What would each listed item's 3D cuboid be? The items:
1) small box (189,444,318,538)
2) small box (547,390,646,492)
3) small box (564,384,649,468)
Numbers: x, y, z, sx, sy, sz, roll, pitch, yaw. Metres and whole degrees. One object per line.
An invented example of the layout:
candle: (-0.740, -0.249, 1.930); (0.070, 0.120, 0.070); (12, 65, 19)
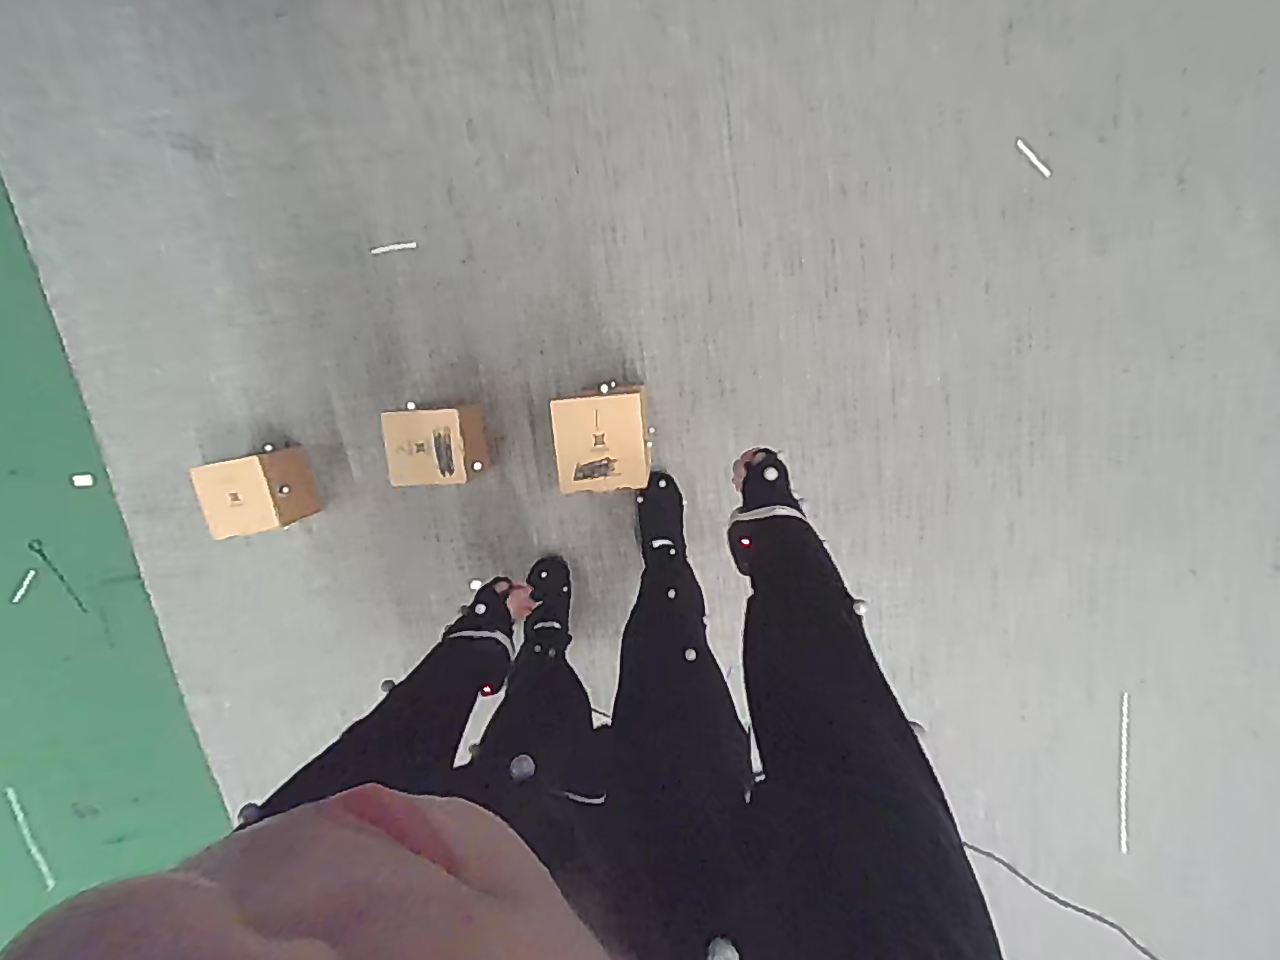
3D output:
small box: (-0.912, 0.021, 1.296); (0.168, 0.176, 0.179); (-9, 101, 4)
small box: (-0.078, -0.082, 1.067); (0.168, 0.176, 0.179); (-4, 101, 3)
small box: (-0.070, -0.120, 1.227); (0.168, 0.176, 0.179); (-5, 102, 3)
